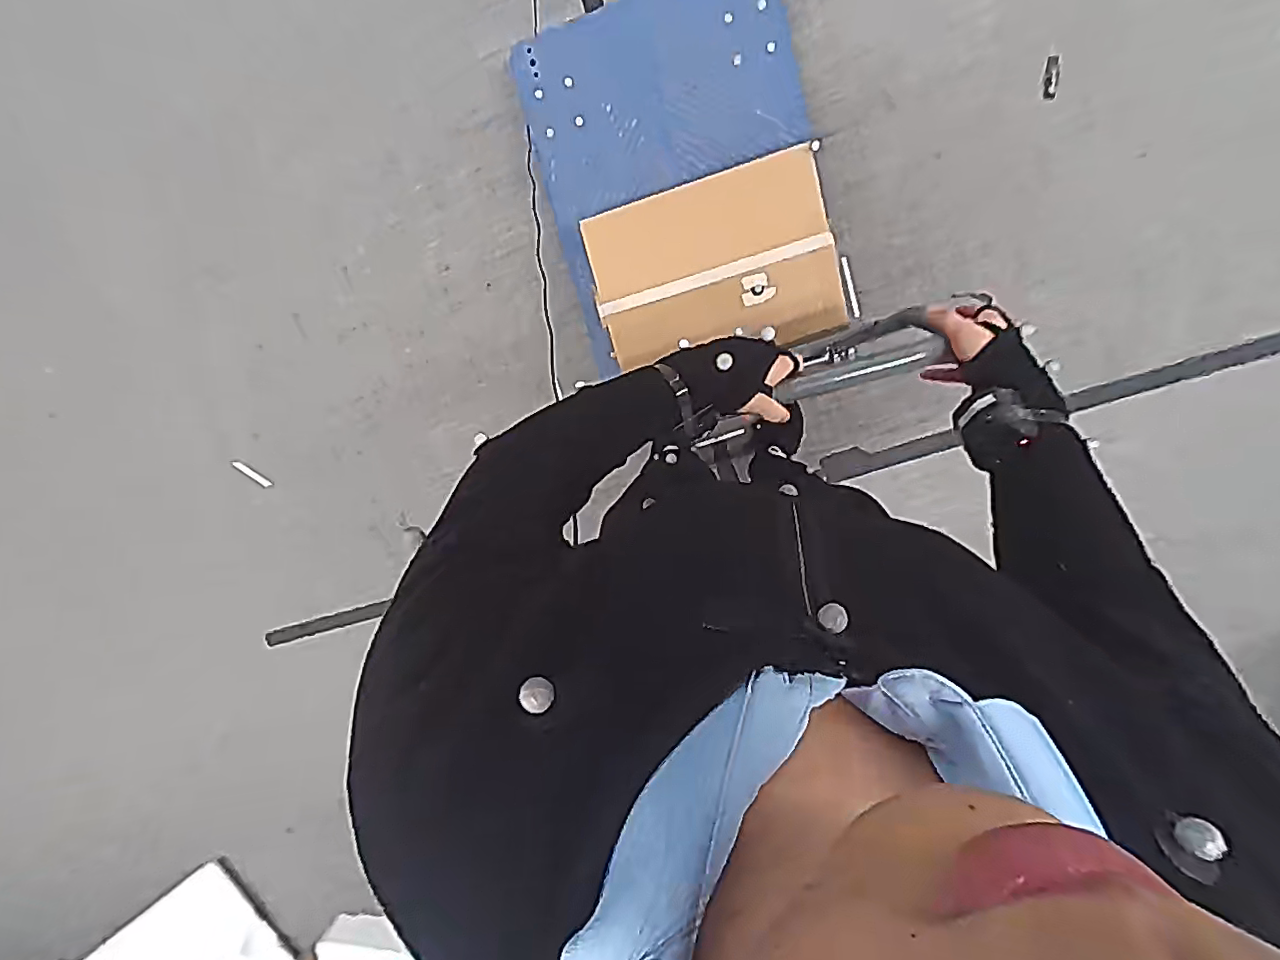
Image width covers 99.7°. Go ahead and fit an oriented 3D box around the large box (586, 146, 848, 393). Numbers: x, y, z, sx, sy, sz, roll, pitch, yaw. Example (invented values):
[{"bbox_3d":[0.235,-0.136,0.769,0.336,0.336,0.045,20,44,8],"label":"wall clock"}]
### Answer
[{"bbox_3d":[0.148,-0.382,1.089,0.408,0.320,0.320,-15,99,9],"label":"large box"}]
